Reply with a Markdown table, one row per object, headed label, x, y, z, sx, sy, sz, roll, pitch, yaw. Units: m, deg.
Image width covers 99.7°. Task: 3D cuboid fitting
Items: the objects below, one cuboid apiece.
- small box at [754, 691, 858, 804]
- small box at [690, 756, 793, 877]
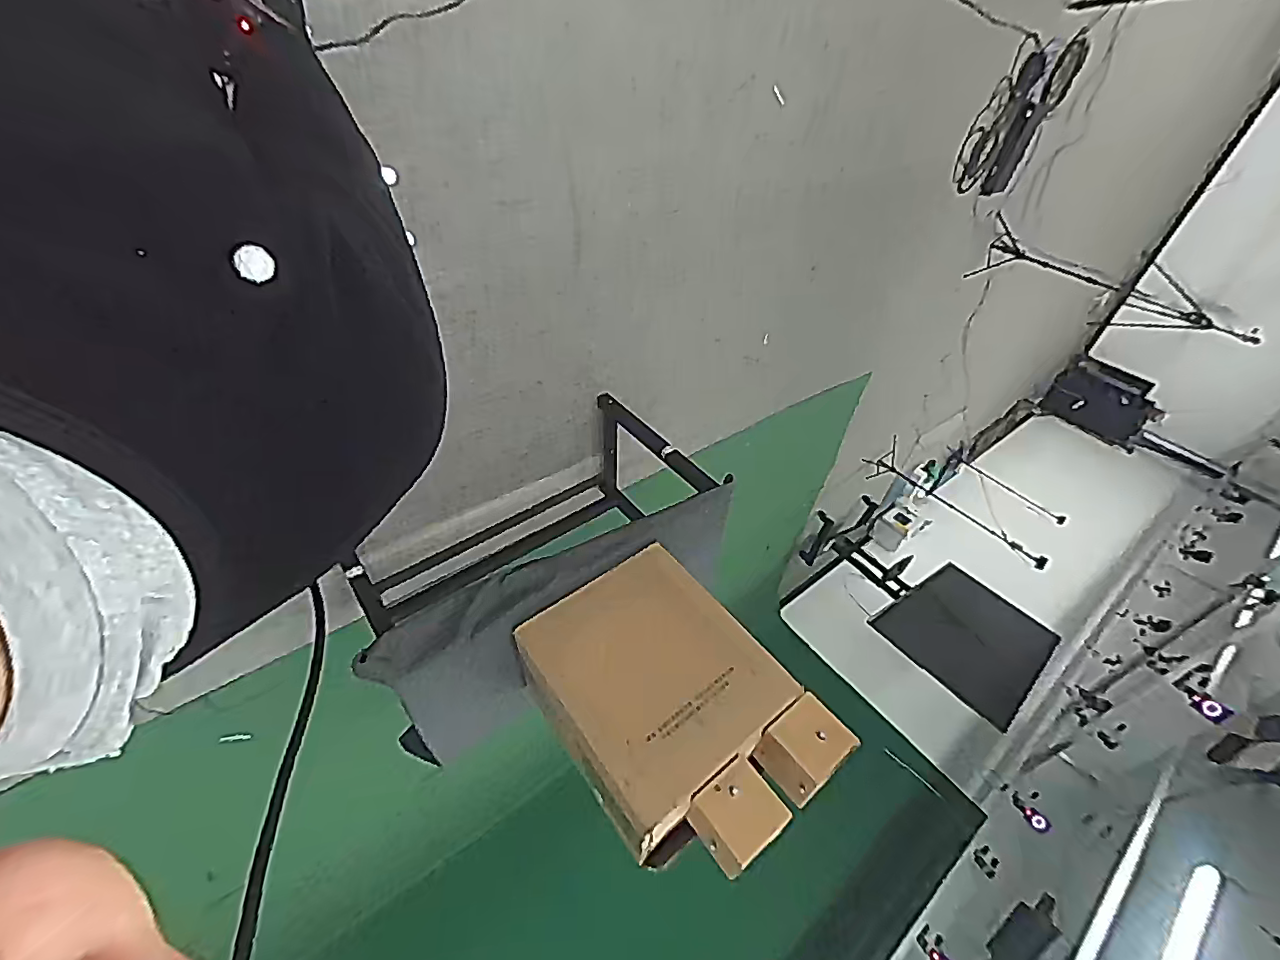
| label | x | y | z | sx | sy | sz | roll | pitch | yaw |
| --- | --- | --- | --- | --- | --- | --- | --- | --- | --- |
| small box | 0.430 | 0.695 | 1.421 | 0.179 | 0.176 | 0.168 | -27 | 141 | -32 |
| small box | 0.238 | 0.808 | 1.310 | 0.168 | 0.176 | 0.179 | -29 | 142 | -27 |
